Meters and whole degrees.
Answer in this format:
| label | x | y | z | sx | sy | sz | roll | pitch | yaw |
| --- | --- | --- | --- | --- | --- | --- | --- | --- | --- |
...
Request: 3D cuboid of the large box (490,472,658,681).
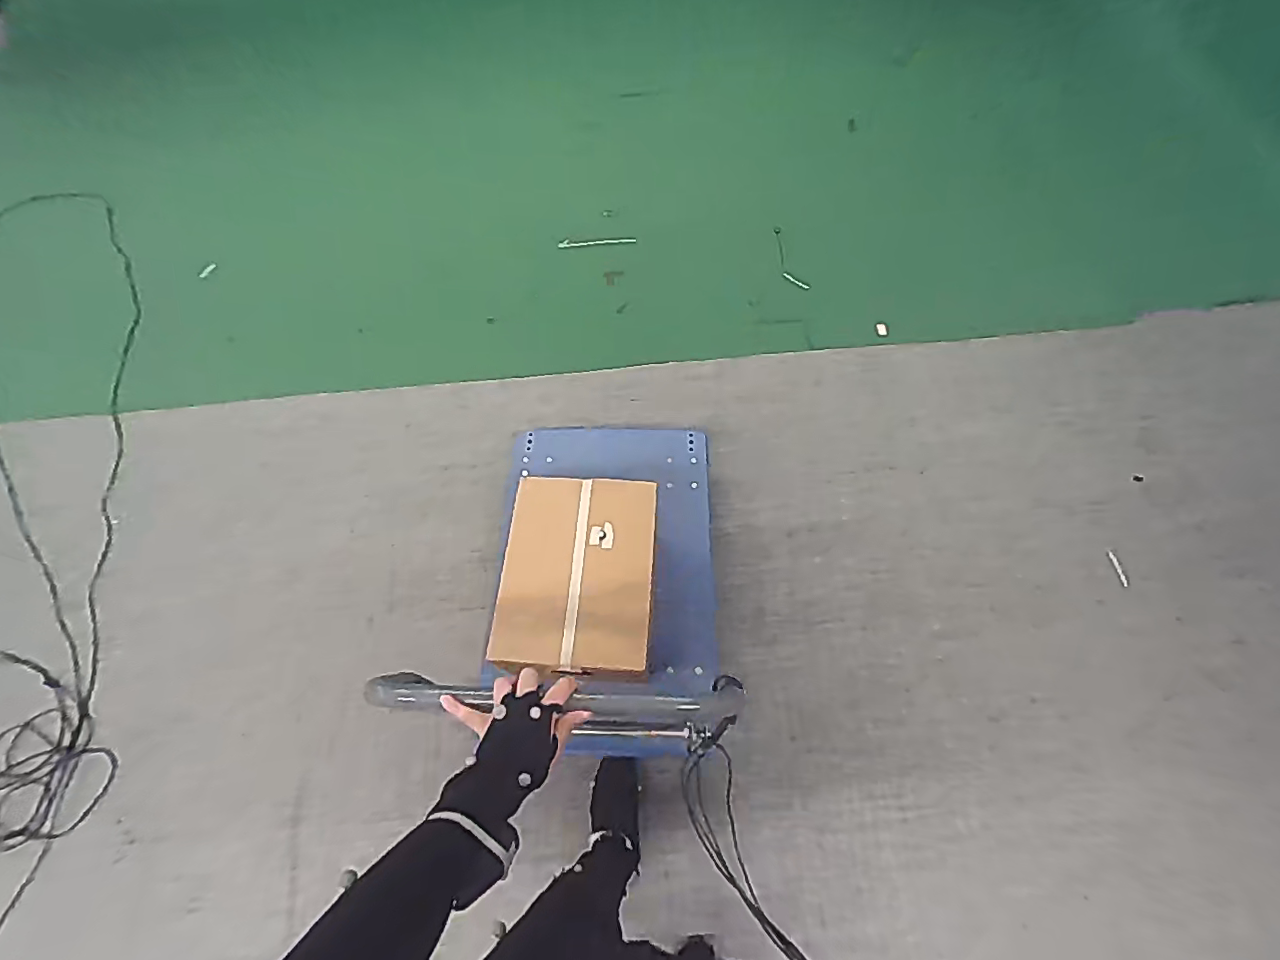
| label | x | y | z | sx | sy | sz | roll | pitch | yaw |
| --- | --- | --- | --- | --- | --- | --- | --- | --- | --- |
| large box | -0.122 | 0.232 | 1.250 | 0.320 | 0.320 | 0.408 | 4 | 63 | 3 |
